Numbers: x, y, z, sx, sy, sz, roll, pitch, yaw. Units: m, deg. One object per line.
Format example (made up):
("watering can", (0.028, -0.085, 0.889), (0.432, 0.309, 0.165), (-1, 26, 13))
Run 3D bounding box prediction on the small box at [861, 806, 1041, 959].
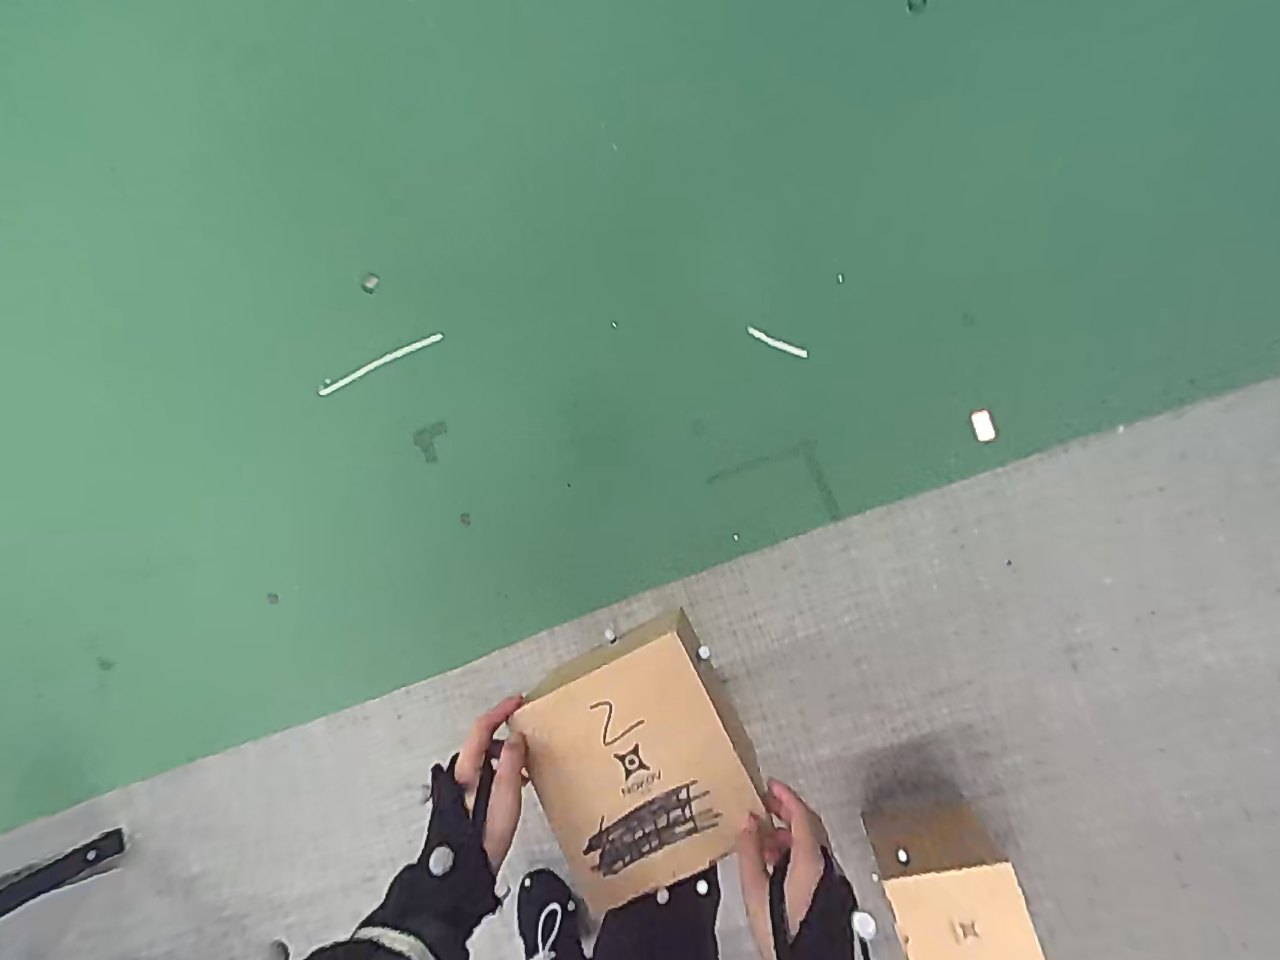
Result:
("small box", (0.463, 0.631, 0.825), (0.179, 0.176, 0.168), (-18, 84, 11))
